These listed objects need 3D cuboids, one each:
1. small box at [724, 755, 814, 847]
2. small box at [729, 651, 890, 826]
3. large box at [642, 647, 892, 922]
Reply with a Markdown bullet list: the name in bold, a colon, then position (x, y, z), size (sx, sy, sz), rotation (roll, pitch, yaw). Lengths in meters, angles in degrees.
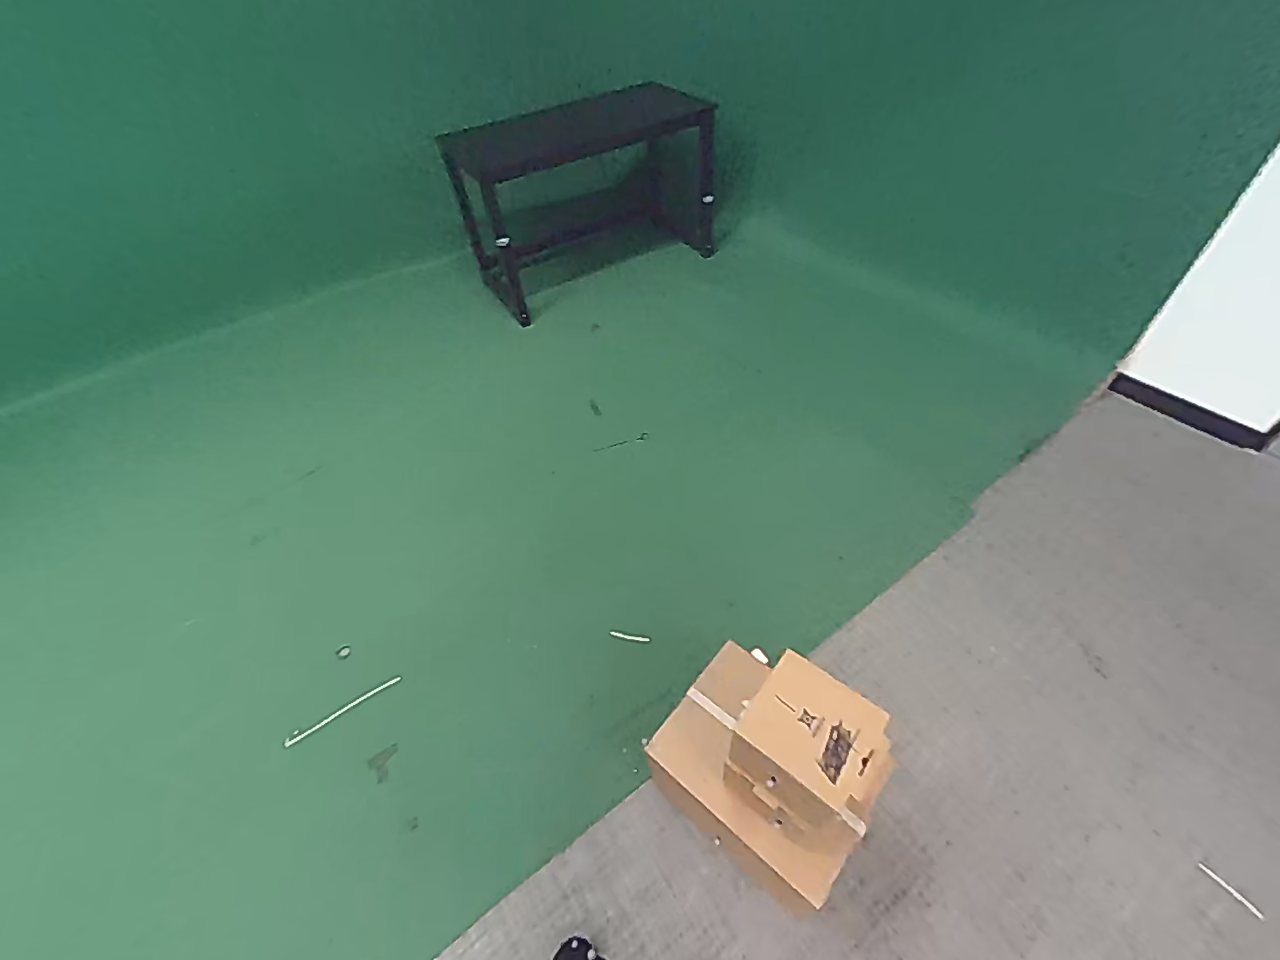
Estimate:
- **small box**: position (0.268, 0.524, 0.982), size (0.168, 0.176, 0.179), rotation (32, 59, 29)
- **small box**: position (0.259, 0.415, 0.859), size (0.179, 0.176, 0.168), rotation (30, 58, 29)
- **large box**: position (0.265, 0.659, 1.190), size (0.408, 0.320, 0.320), rotation (30, 56, 30)
